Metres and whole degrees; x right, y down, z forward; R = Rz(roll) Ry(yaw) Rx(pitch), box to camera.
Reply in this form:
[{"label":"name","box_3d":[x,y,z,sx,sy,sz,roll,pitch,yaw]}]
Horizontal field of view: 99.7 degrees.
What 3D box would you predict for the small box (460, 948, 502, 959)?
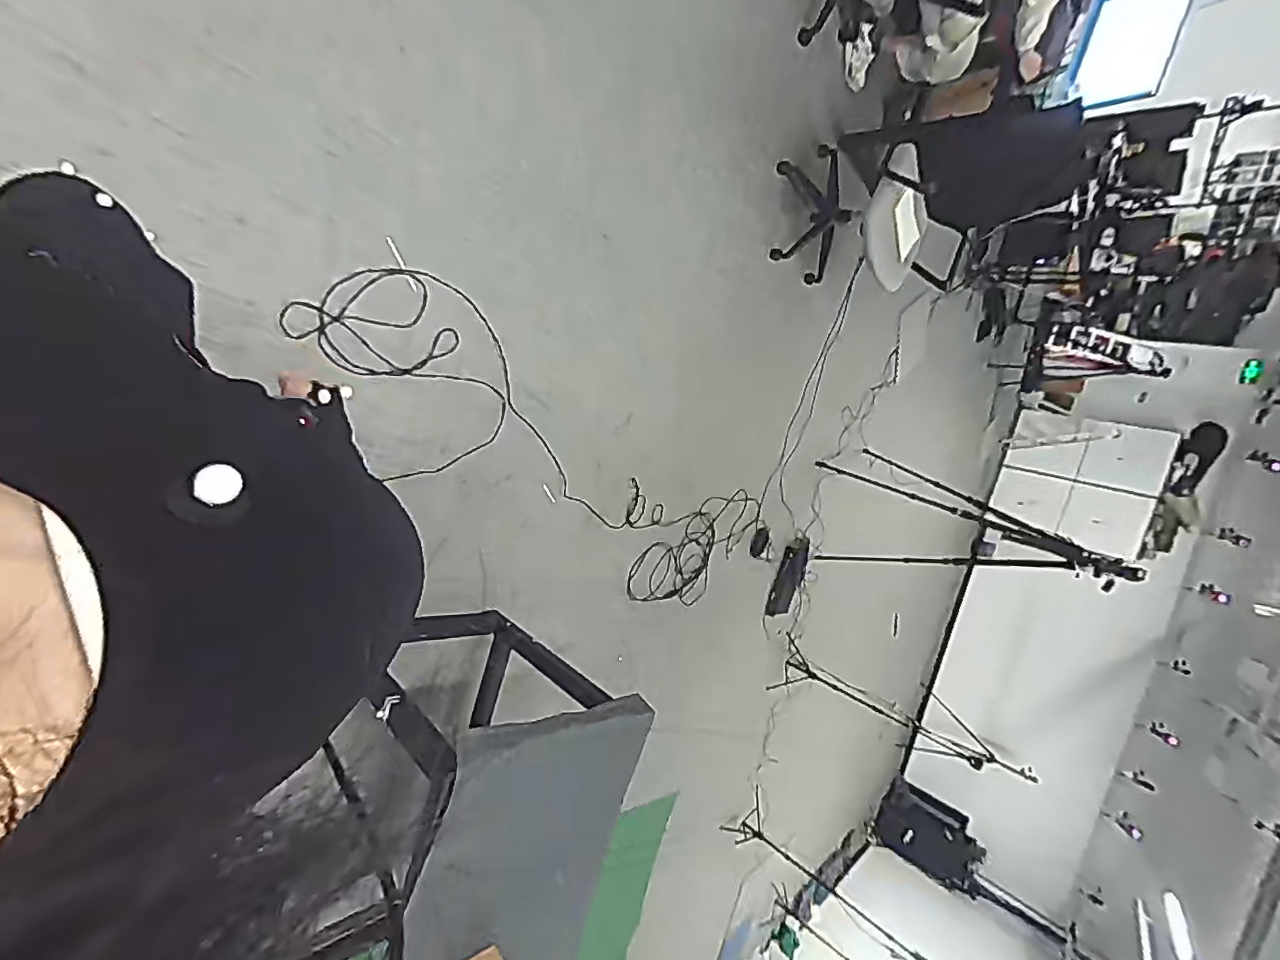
[{"label":"small box","box_3d":[-0.363,1.155,1.148,0.168,0.176,0.179,15,93,-51]}]
